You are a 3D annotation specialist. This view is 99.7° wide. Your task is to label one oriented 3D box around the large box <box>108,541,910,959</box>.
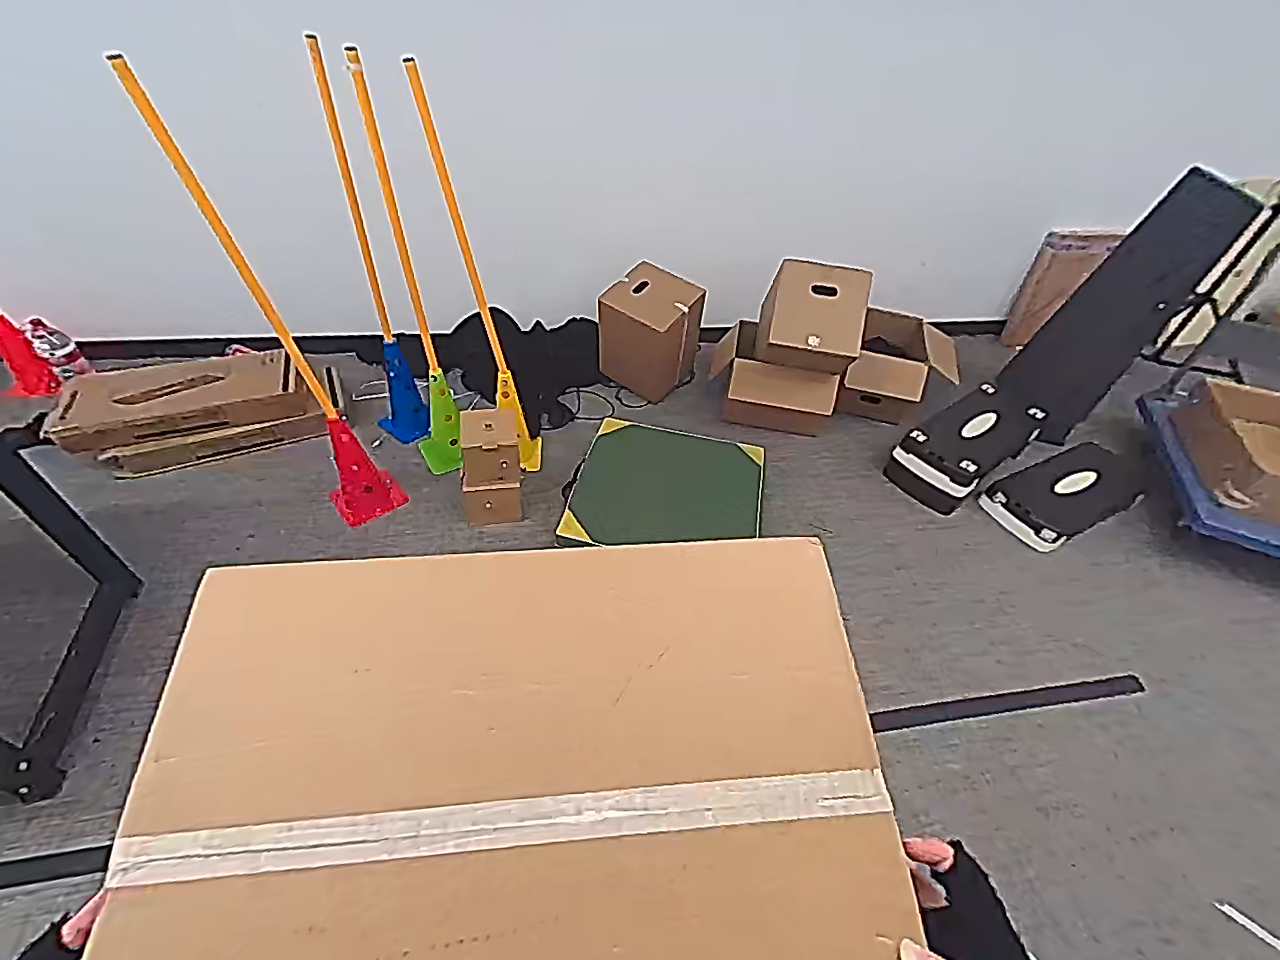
[{"bbox_3d":[-0.072,0.260,0.430,0.408,0.320,0.320,-2,61,-4],"label":"large box"}]
